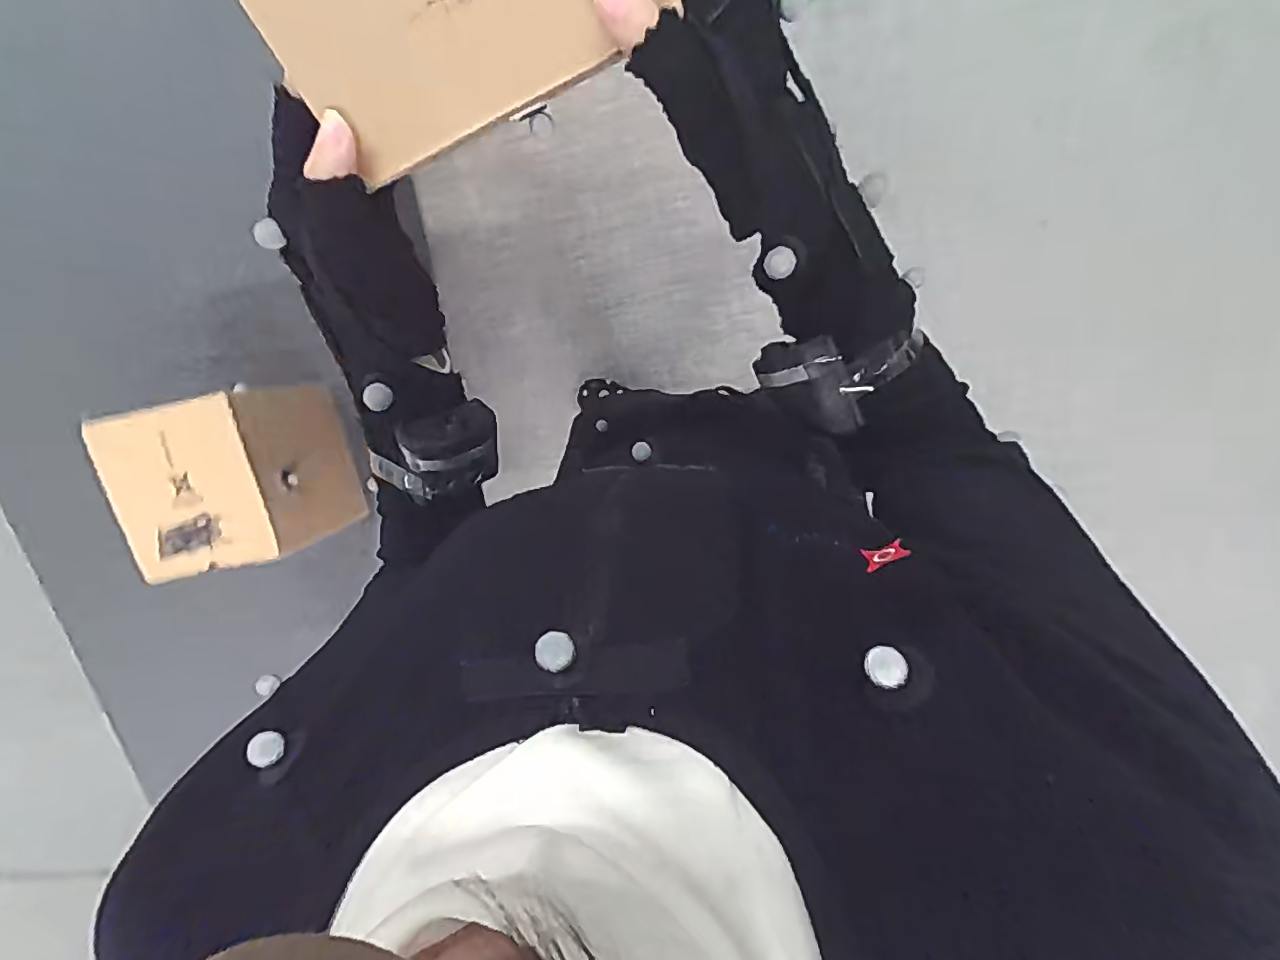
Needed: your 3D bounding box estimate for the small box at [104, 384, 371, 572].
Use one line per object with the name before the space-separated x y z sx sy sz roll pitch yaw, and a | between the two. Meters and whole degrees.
small box | -0.461 -0.011 0.654 0.168 0.176 0.179 -11 102 6
